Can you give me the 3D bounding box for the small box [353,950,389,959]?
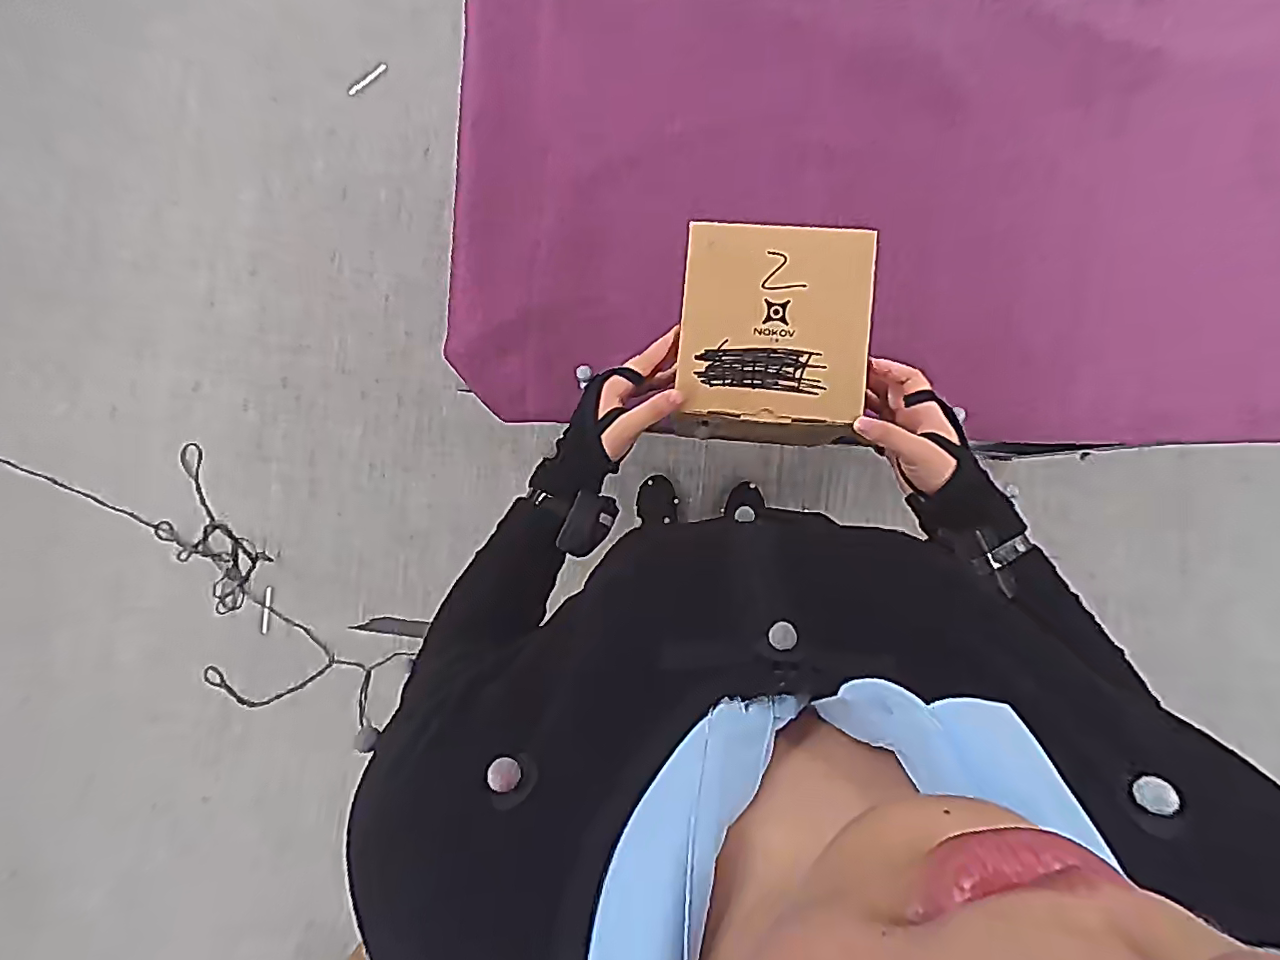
[{"bbox_3d":[-0.766,1.462,1.495,0.179,0.176,0.168,14,90,6],"label":"small box"}]
